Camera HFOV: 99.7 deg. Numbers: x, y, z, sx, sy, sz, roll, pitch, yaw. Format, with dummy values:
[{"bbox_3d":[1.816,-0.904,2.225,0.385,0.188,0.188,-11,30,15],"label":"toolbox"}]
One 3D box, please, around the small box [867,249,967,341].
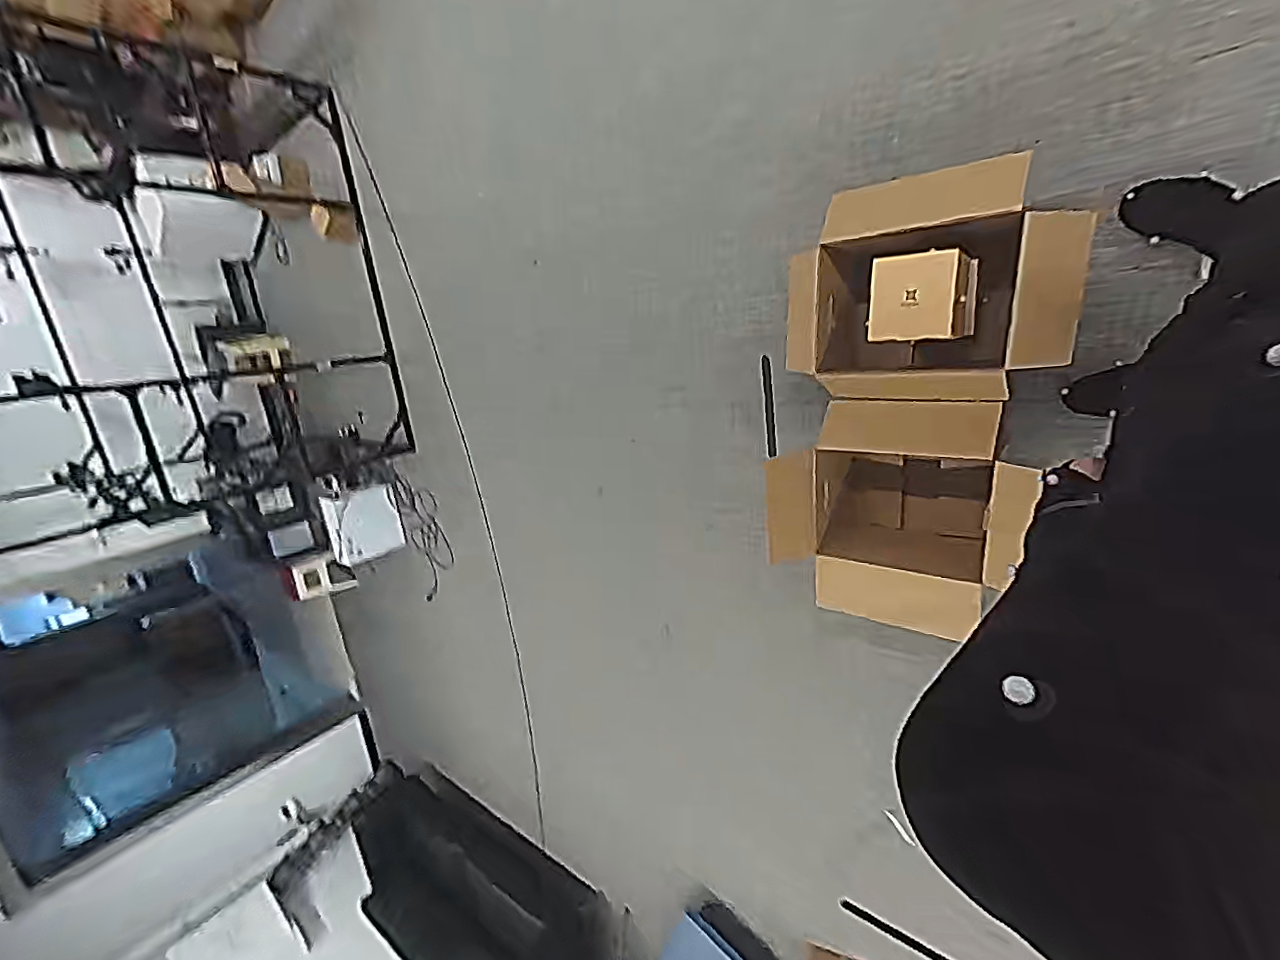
[{"bbox_3d":[0.617,-0.403,1.201,0.168,0.176,0.179,8,109,37],"label":"small box"}]
